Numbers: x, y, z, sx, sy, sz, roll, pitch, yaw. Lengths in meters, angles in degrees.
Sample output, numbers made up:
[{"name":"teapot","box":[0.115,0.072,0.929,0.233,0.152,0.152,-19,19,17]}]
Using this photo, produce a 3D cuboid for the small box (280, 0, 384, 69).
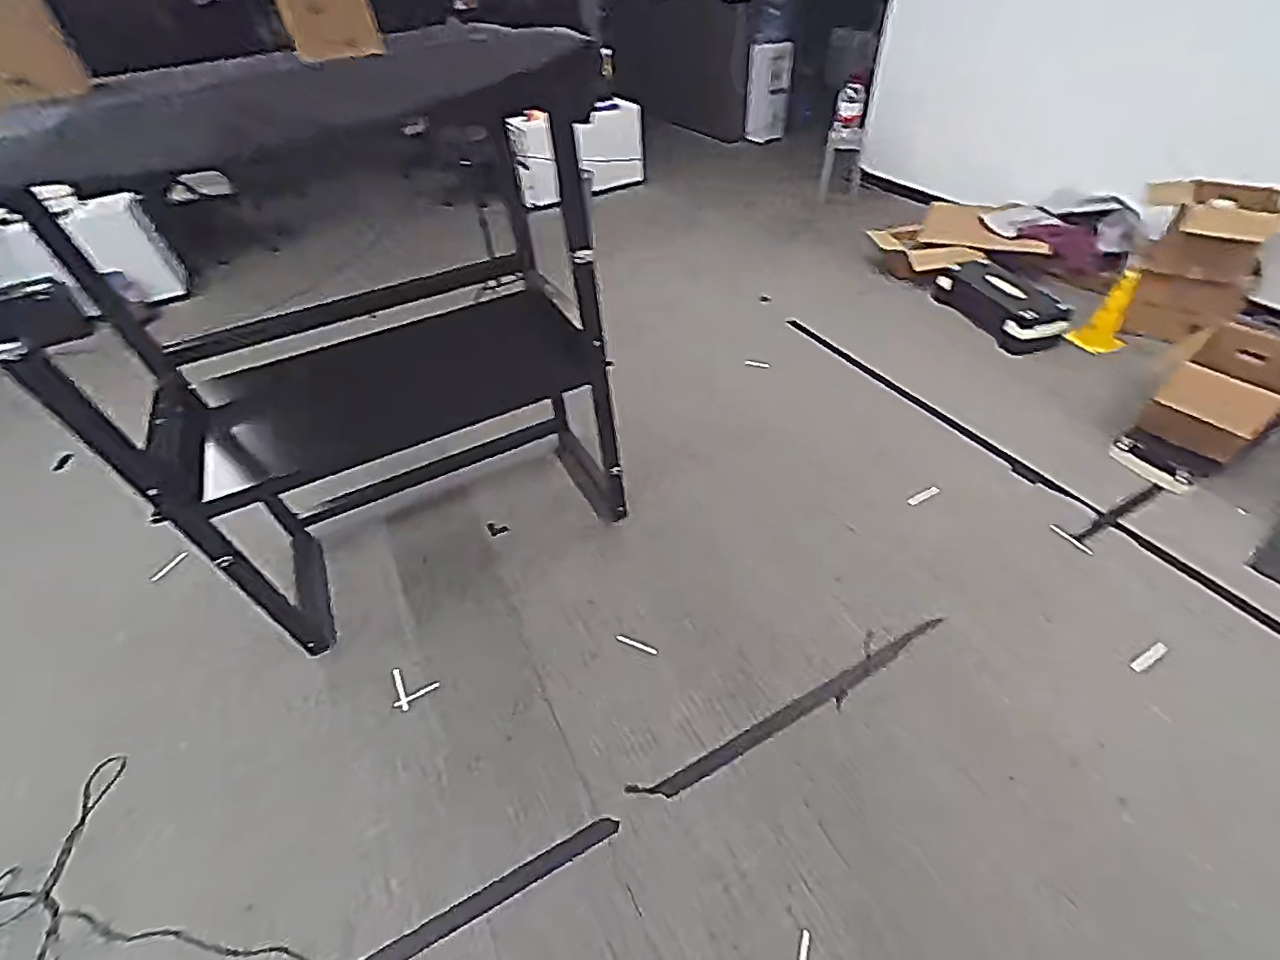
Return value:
[{"name":"small box","box":[-0.695,-1.039,1.207,0.168,0.176,0.179,-24,48,-17]}]

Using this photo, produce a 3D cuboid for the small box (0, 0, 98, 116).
[{"name":"small box","box":[-1.196,-0.815,1.028,0.179,0.176,0.168,-24,49,-19]}]
